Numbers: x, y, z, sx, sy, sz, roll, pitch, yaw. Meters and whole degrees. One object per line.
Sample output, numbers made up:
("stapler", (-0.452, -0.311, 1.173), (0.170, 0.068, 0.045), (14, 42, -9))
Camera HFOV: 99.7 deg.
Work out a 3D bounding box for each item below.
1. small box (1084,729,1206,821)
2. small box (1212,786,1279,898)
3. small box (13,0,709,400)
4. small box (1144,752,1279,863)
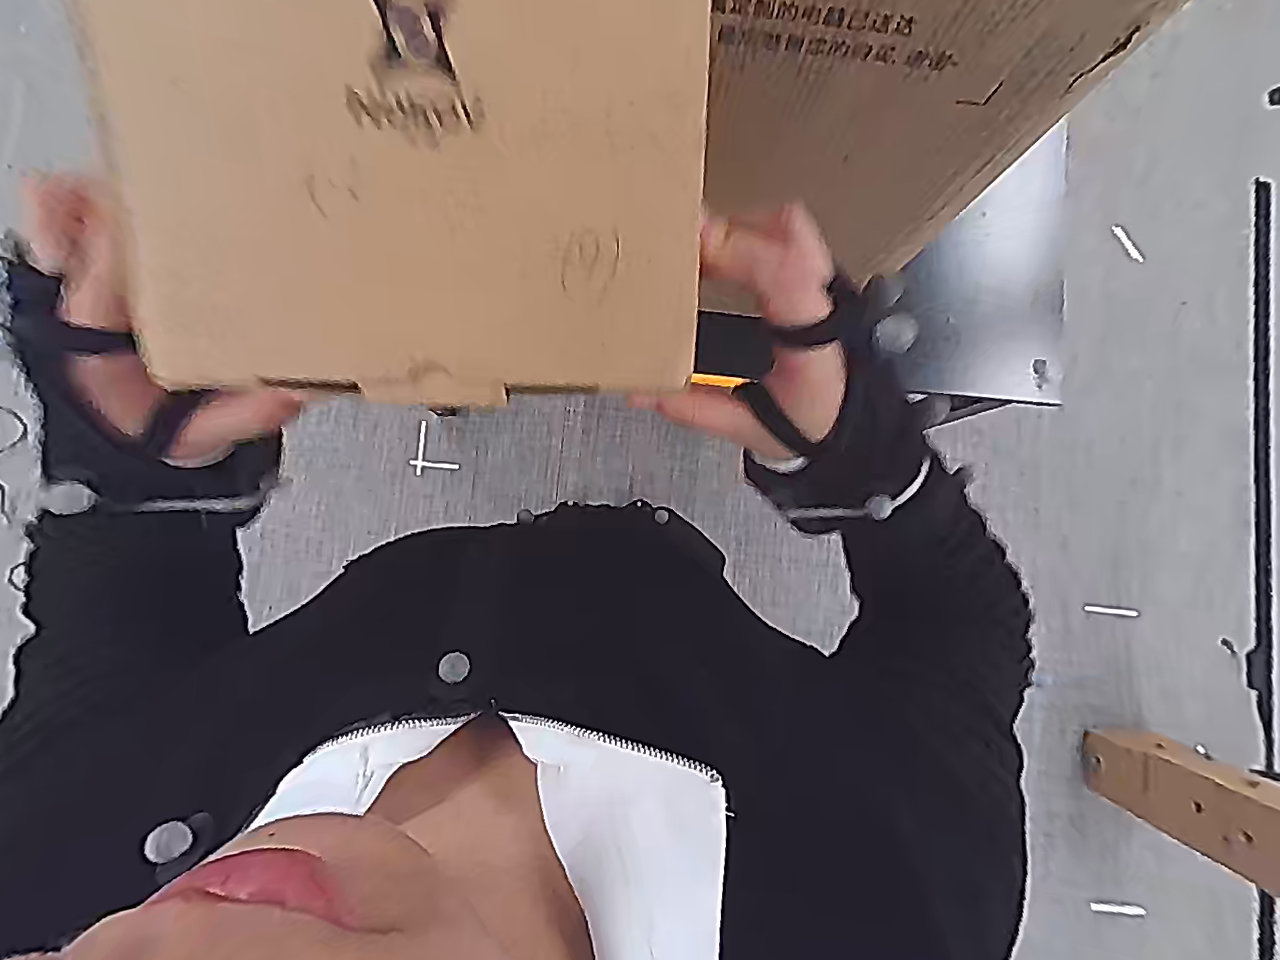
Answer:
("small box", (1.323, 0.768, 1.421), (0.179, 0.176, 0.168), (0, 85, 0))
("small box", (1.335, 0.747, 1.093), (0.179, 0.176, 0.168), (8, 85, -1))
("small box", (-0.070, -0.132, 0.210), (0.168, 0.176, 0.179), (0, 106, -6))
("small box", (1.328, 0.756, 1.257), (0.168, 0.176, 0.179), (5, 86, -1))
